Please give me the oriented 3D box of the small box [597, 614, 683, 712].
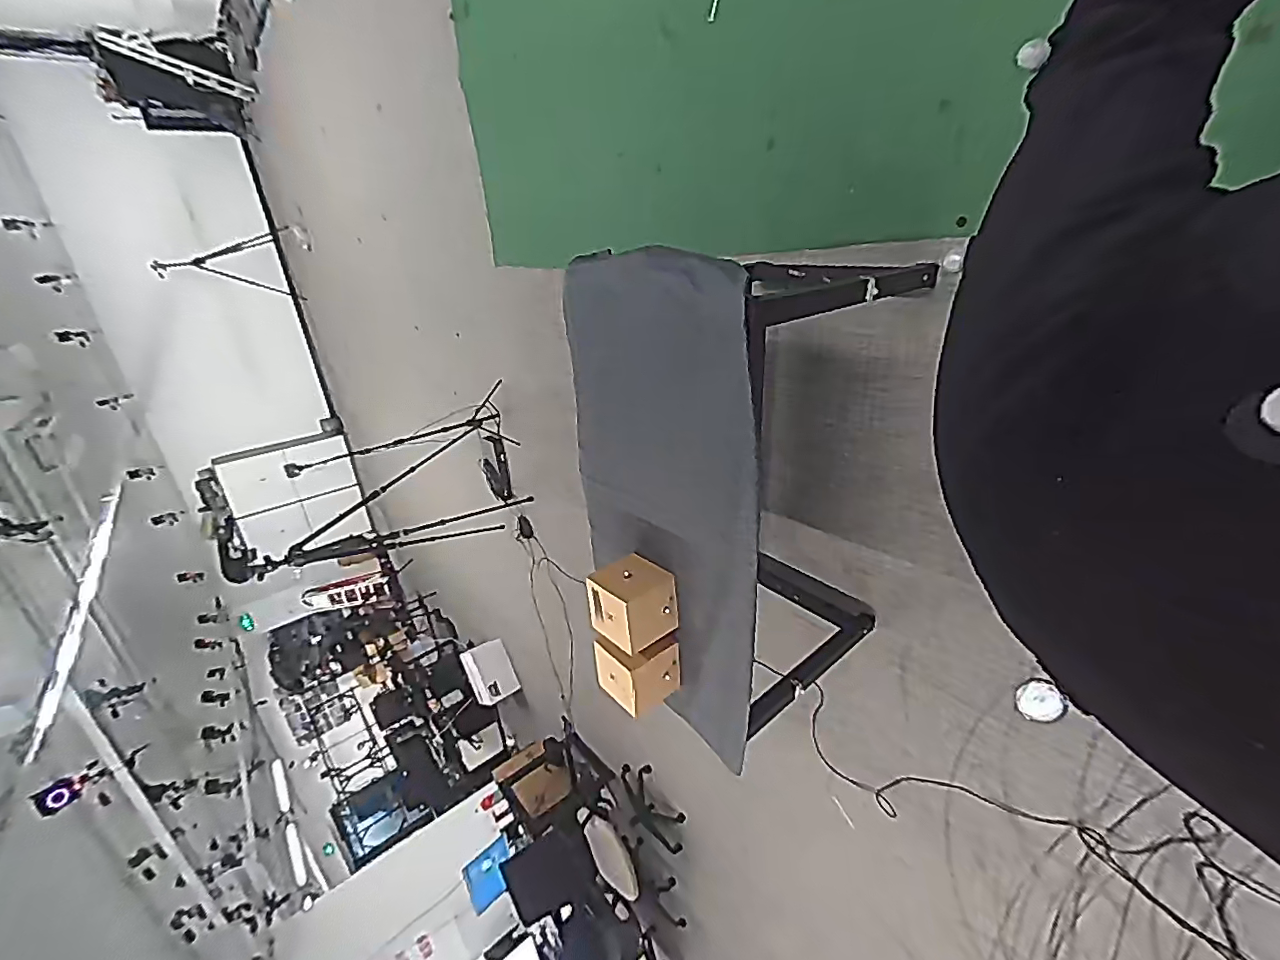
[{"bbox_3d":[0.002,0.504,1.525,0.179,0.176,0.168,23,126,46],"label":"small box"}]
